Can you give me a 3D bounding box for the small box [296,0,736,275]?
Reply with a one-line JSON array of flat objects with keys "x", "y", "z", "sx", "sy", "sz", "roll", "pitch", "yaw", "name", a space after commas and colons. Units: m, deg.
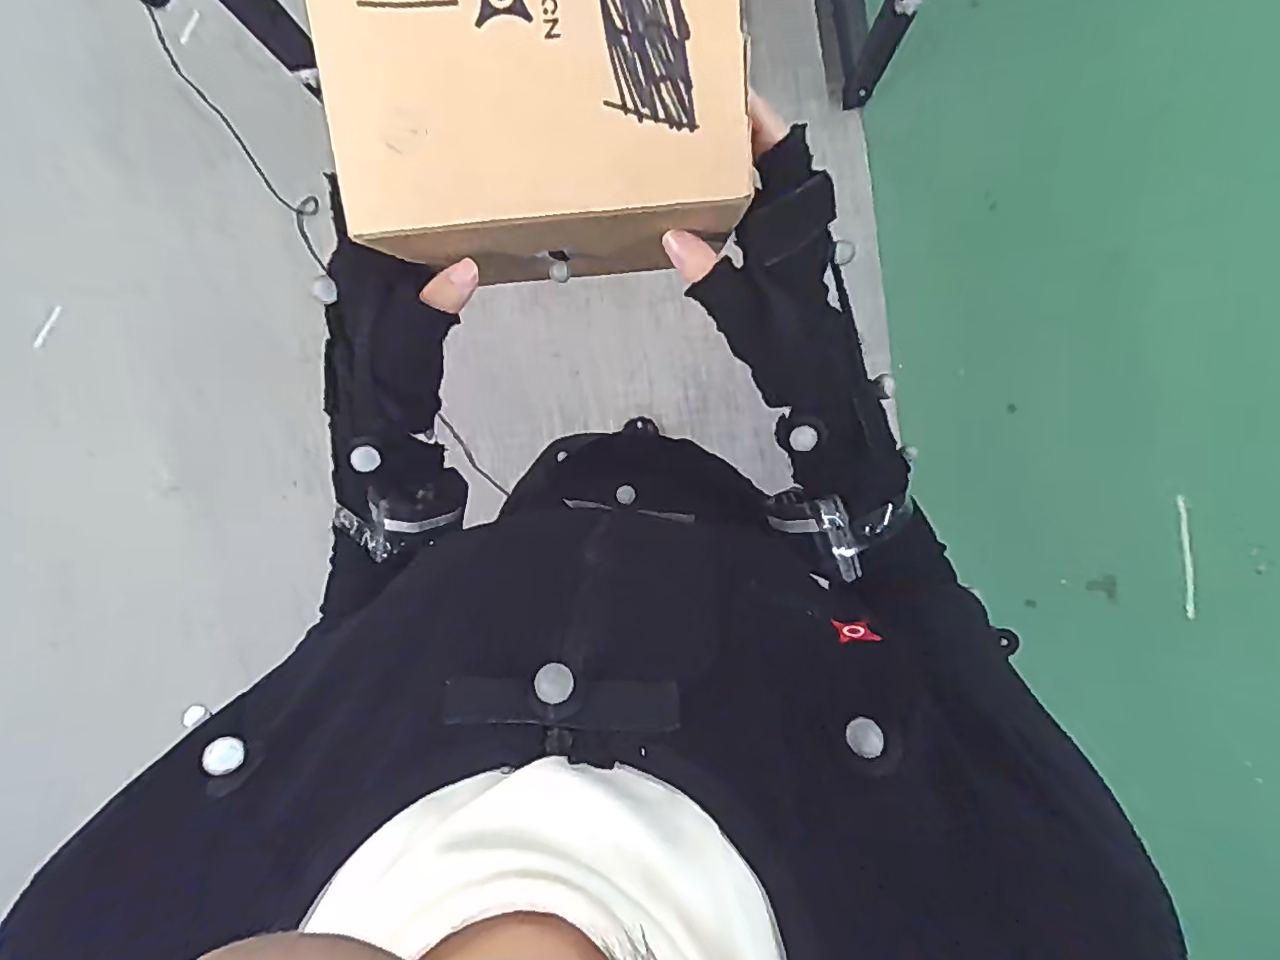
[{"x": -0.048, "y": -0.212, "z": 0.290, "sx": 0.179, "sy": 0.176, "sz": 0.168, "roll": -3, "pitch": 102, "yaw": 3, "name": "small box"}]
